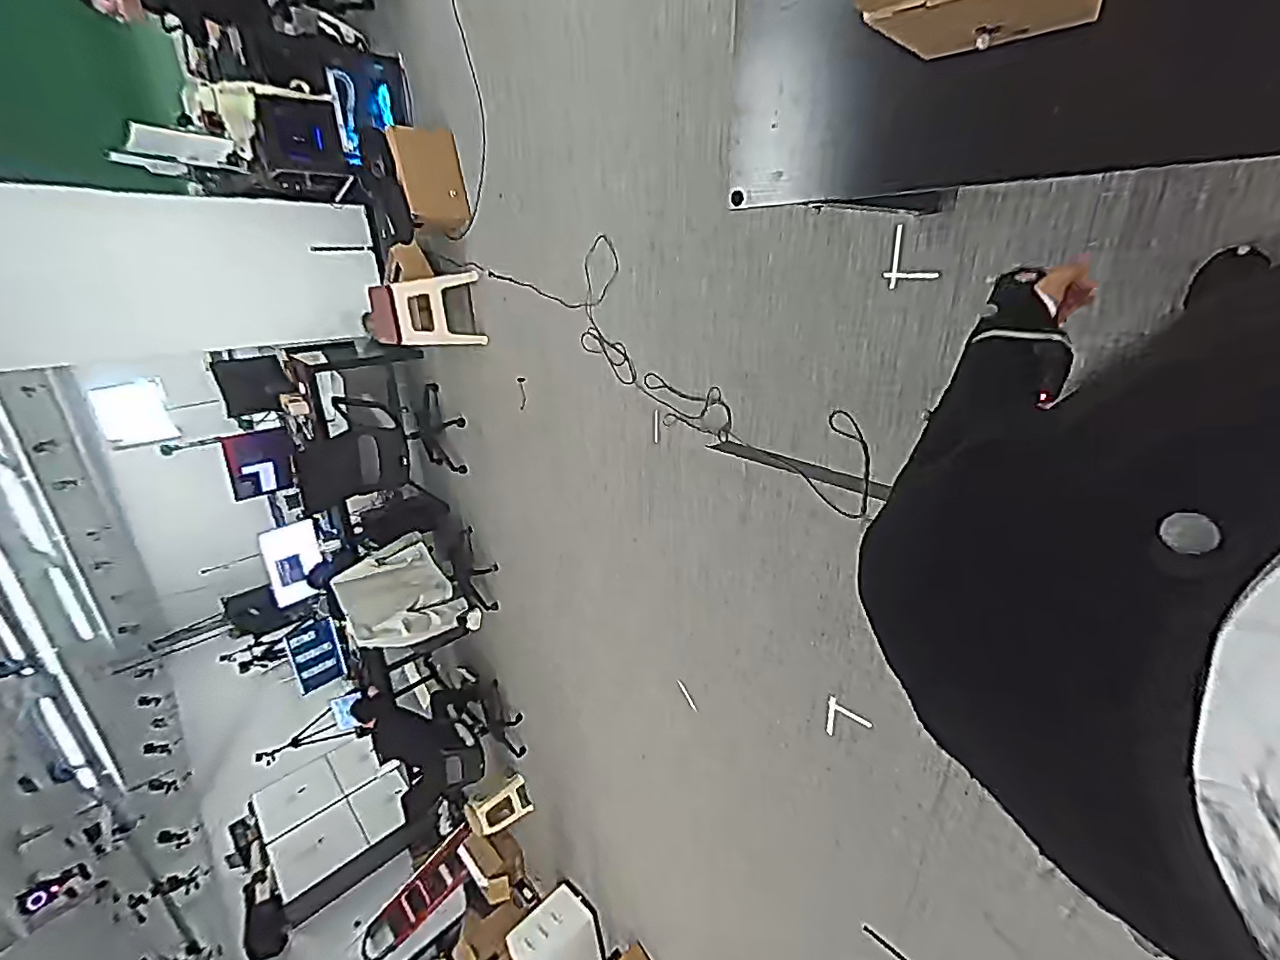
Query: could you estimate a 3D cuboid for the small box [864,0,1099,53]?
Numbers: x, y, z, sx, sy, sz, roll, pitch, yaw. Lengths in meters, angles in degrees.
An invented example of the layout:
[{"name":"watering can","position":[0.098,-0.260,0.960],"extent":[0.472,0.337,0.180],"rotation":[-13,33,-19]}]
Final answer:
[{"name":"small box","position":[0.337,-0.539,0.503],"extent":[0.168,0.176,0.179],"rotation":[22,122,42]}]
